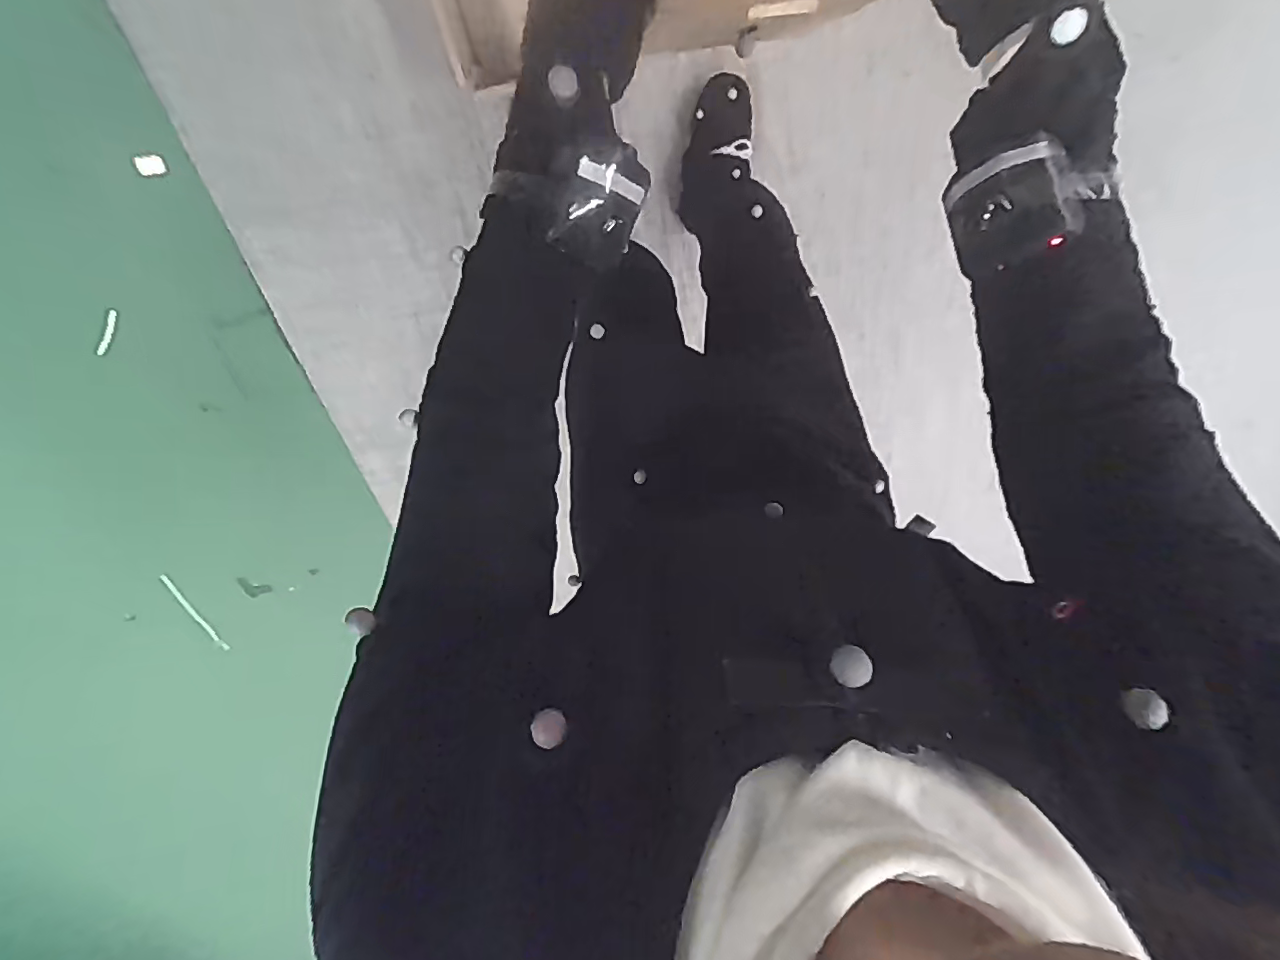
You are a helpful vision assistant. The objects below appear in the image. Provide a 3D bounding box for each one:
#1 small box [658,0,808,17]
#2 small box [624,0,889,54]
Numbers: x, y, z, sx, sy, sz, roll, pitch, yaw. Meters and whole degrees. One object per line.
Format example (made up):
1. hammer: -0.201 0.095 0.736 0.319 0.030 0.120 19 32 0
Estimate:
1. small box: 0.081 -0.330 0.231 0.168 0.176 0.179 -10 120 -1
2. small box: 0.069 -0.414 0.371 0.168 0.176 0.179 -8 122 -1
